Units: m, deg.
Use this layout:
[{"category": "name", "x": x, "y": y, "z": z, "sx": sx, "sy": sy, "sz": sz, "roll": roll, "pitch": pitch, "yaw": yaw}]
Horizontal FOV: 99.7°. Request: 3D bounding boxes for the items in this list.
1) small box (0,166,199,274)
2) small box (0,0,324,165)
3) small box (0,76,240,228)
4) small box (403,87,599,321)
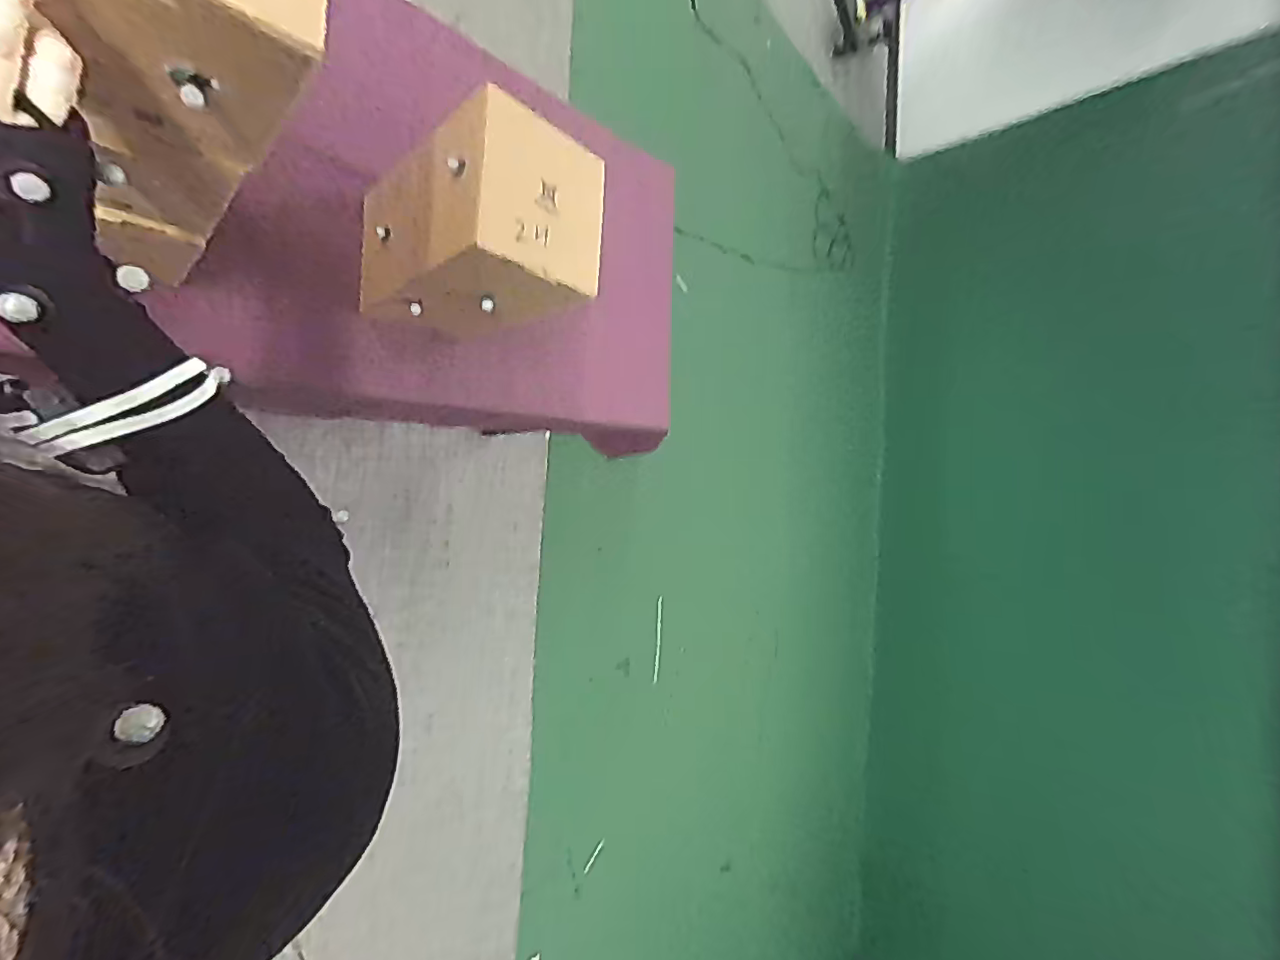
[{"category": "small box", "x": -0.532, "y": -0.318, "z": 0.516, "sx": 0.168, "sy": 0.176, "sz": 0.179, "roll": 4, "pitch": 89, "yaw": -48}, {"category": "small box", "x": -0.288, "y": -0.315, "z": 0.296, "sx": 0.168, "sy": 0.176, "sz": 0.179, "roll": 2, "pitch": 89, "yaw": -48}, {"category": "small box", "x": -0.408, "y": -0.321, "z": 0.406, "sx": 0.168, "sy": 0.176, "sz": 0.179, "roll": 5, "pitch": 86, "yaw": -48}, {"category": "small box", "x": -0.171, "y": -0.315, "z": 0.663, "sx": 0.168, "sy": 0.176, "sz": 0.179, "roll": 7, "pitch": 86, "yaw": -47}]
